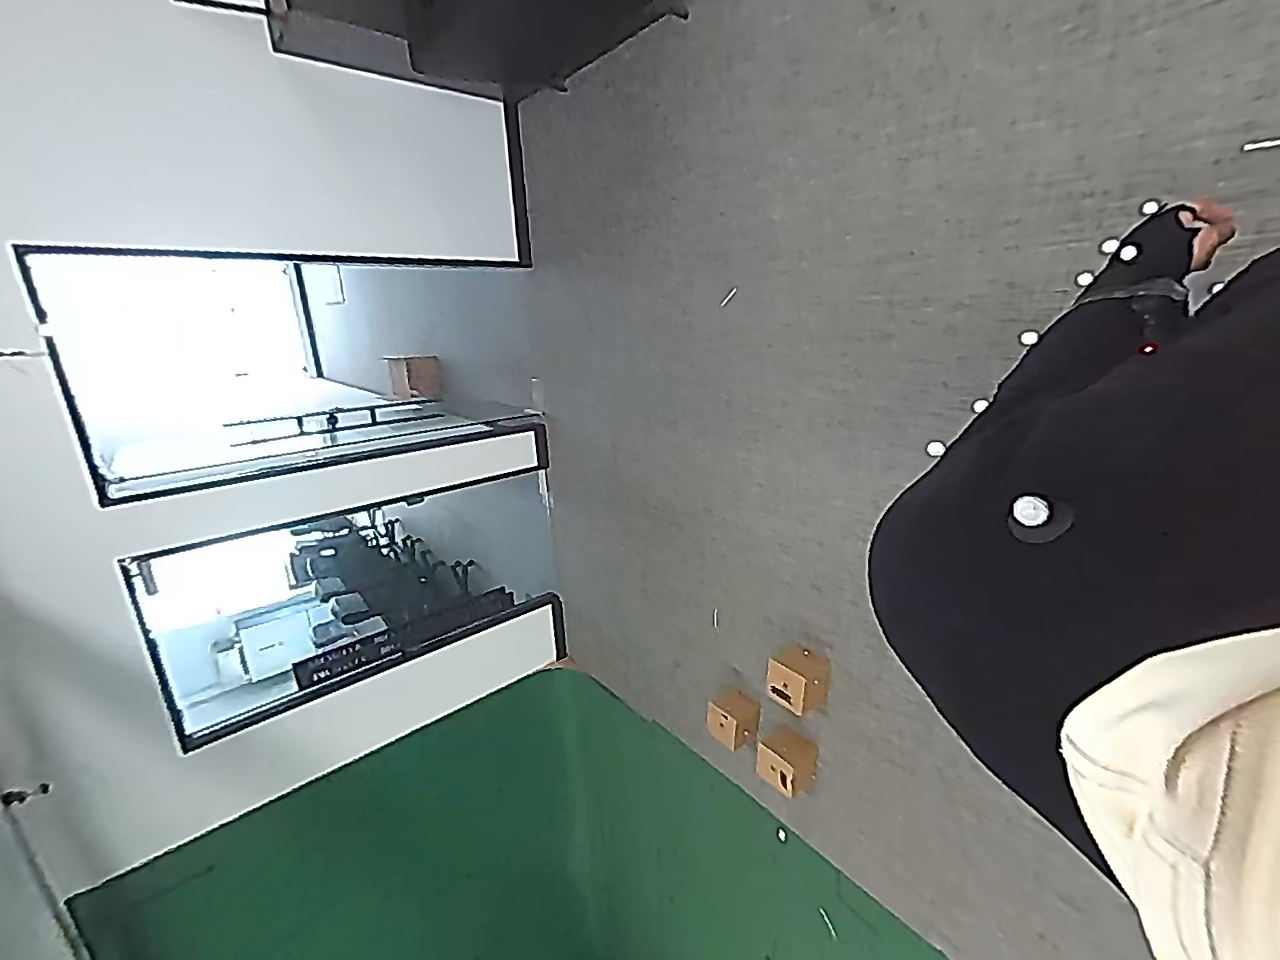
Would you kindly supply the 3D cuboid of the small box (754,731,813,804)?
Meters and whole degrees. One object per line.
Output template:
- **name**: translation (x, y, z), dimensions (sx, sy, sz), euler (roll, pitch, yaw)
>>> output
- **small box**: translation (0.592, 1.174, 2.225), dimensions (0.179, 0.176, 0.168), euler (19, 116, 48)

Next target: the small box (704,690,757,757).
- **small box**: translation (0.407, 1.090, 2.432), dimensions (0.168, 0.176, 0.179), euler (21, 119, 46)
